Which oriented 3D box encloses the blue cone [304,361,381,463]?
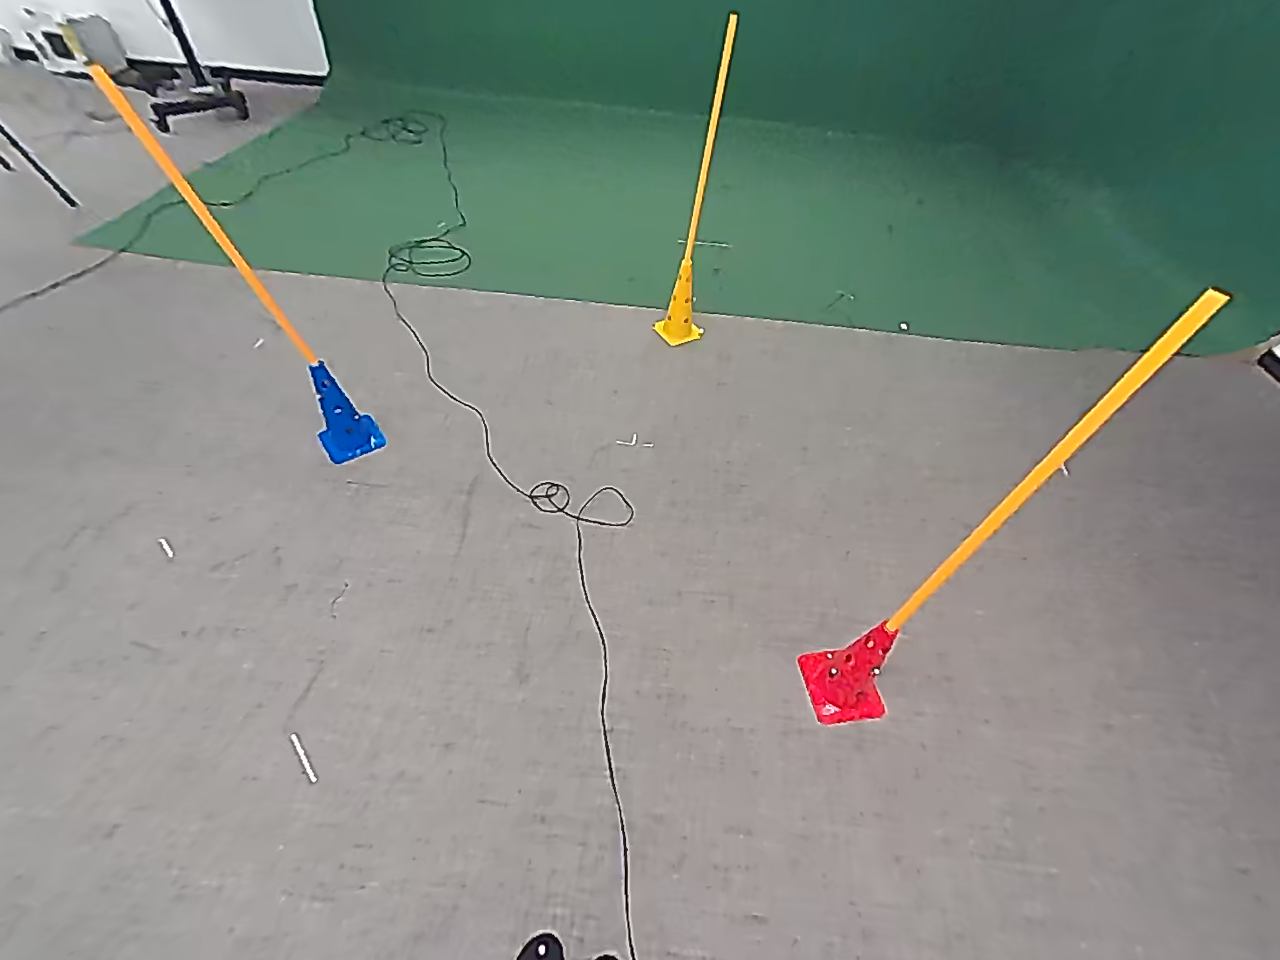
[{"bbox_3d":[-1.079,-0.254,1.900,0.193,0.380,0.192,-31,59,-25],"label":"blue cone"}]
